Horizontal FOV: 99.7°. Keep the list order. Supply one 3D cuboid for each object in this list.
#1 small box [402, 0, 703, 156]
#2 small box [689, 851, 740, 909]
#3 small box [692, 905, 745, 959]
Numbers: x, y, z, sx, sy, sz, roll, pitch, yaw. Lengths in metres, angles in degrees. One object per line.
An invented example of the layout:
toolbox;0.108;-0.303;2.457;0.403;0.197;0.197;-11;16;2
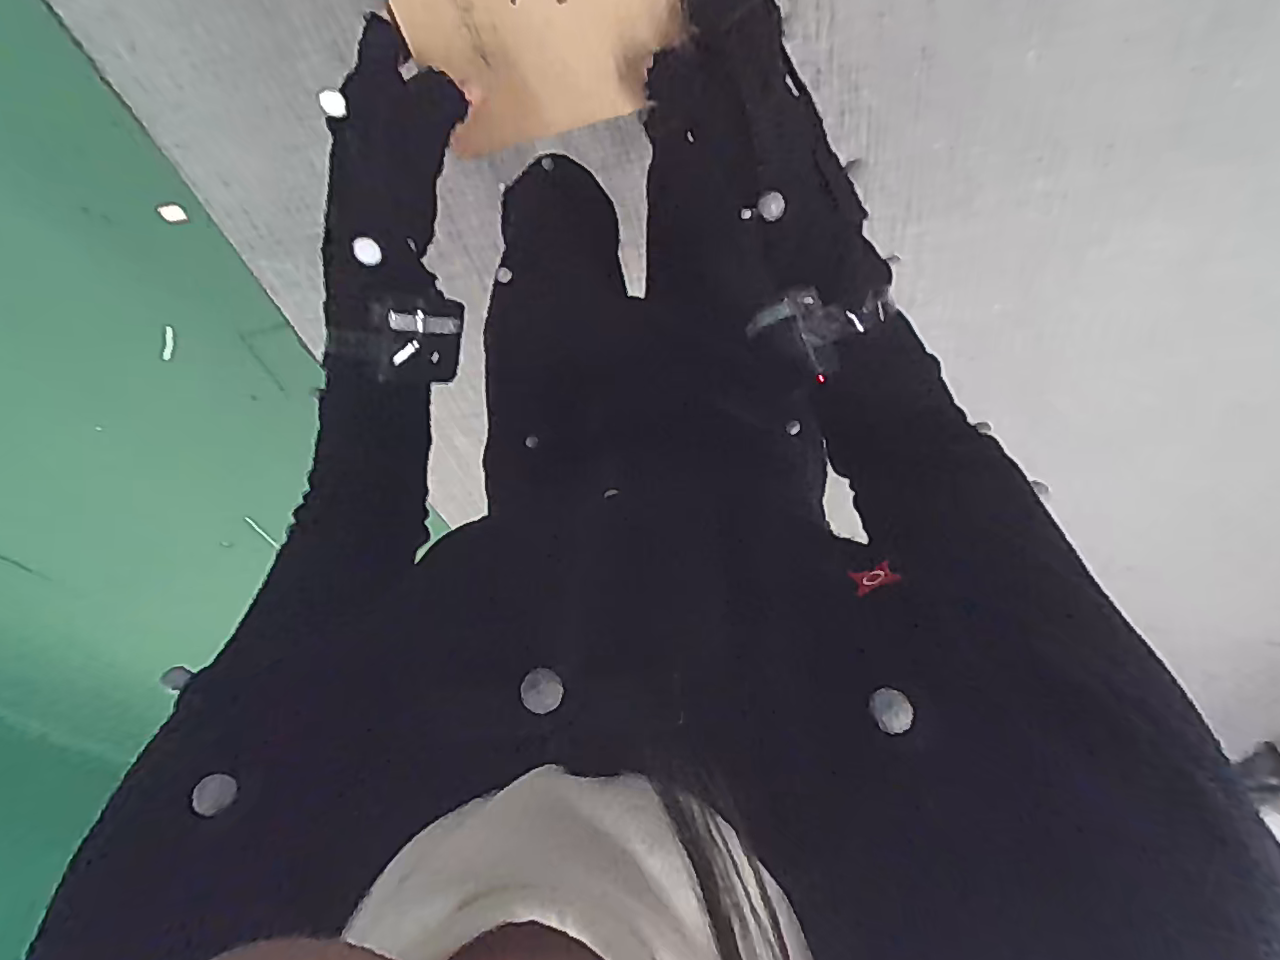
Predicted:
small box;-0.058;-0.360;0.377;0.179;0.176;0.168;-8;134;12
small box;0.285;1.543;2.074;0.179;0.176;0.168;-9;135;9
small box;0.284;1.653;1.953;0.179;0.176;0.168;-7;135;10
